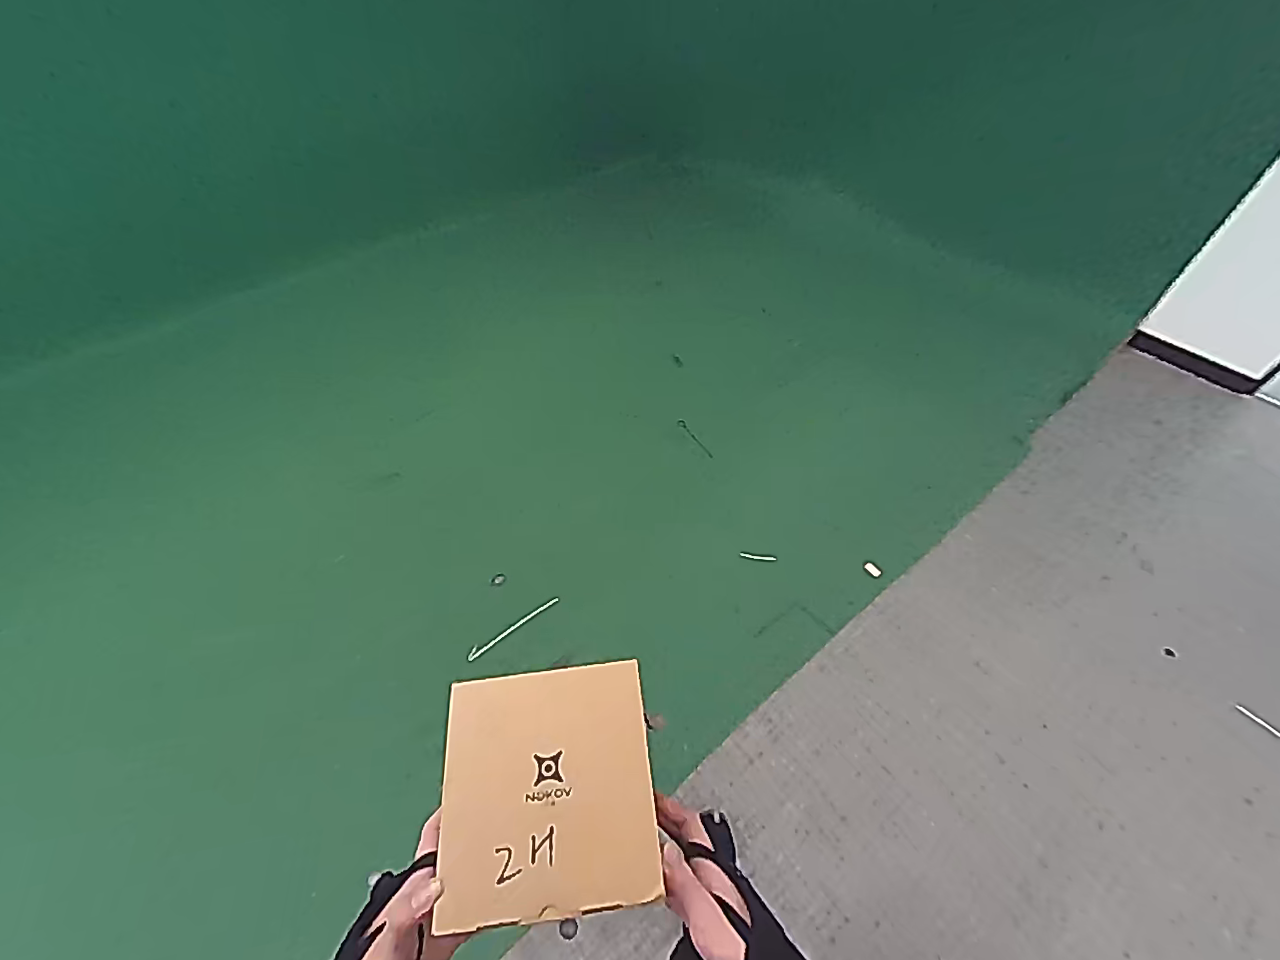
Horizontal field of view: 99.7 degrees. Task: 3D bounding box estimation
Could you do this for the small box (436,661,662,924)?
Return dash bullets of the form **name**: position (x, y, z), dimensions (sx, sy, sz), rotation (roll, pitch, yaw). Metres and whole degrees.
- **small box**: position (-0.073, 0.289, 0.503), dimensions (0.168, 0.176, 0.179), rotation (-6, 54, -3)
